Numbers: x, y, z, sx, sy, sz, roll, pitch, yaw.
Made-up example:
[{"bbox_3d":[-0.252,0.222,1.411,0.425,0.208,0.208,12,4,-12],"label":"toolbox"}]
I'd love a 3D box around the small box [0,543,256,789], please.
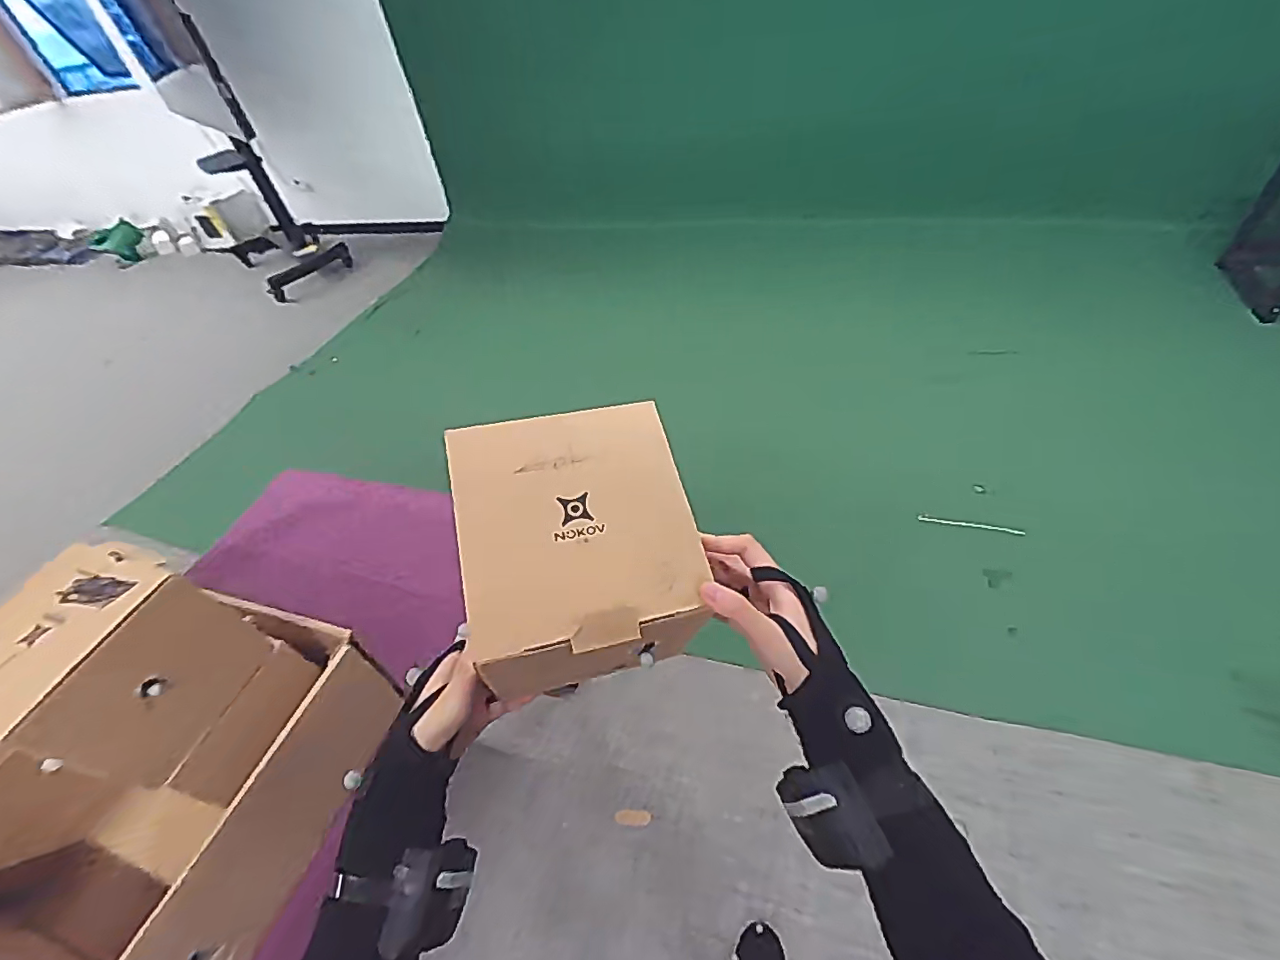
[{"bbox_3d":[-0.566,0.198,0.583,0.168,0.176,0.179,9,50,19],"label":"small box"}]

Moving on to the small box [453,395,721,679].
[{"bbox_3d":[-0.051,0.056,0.452,0.168,0.176,0.179,-9,62,-13],"label":"small box"}]
